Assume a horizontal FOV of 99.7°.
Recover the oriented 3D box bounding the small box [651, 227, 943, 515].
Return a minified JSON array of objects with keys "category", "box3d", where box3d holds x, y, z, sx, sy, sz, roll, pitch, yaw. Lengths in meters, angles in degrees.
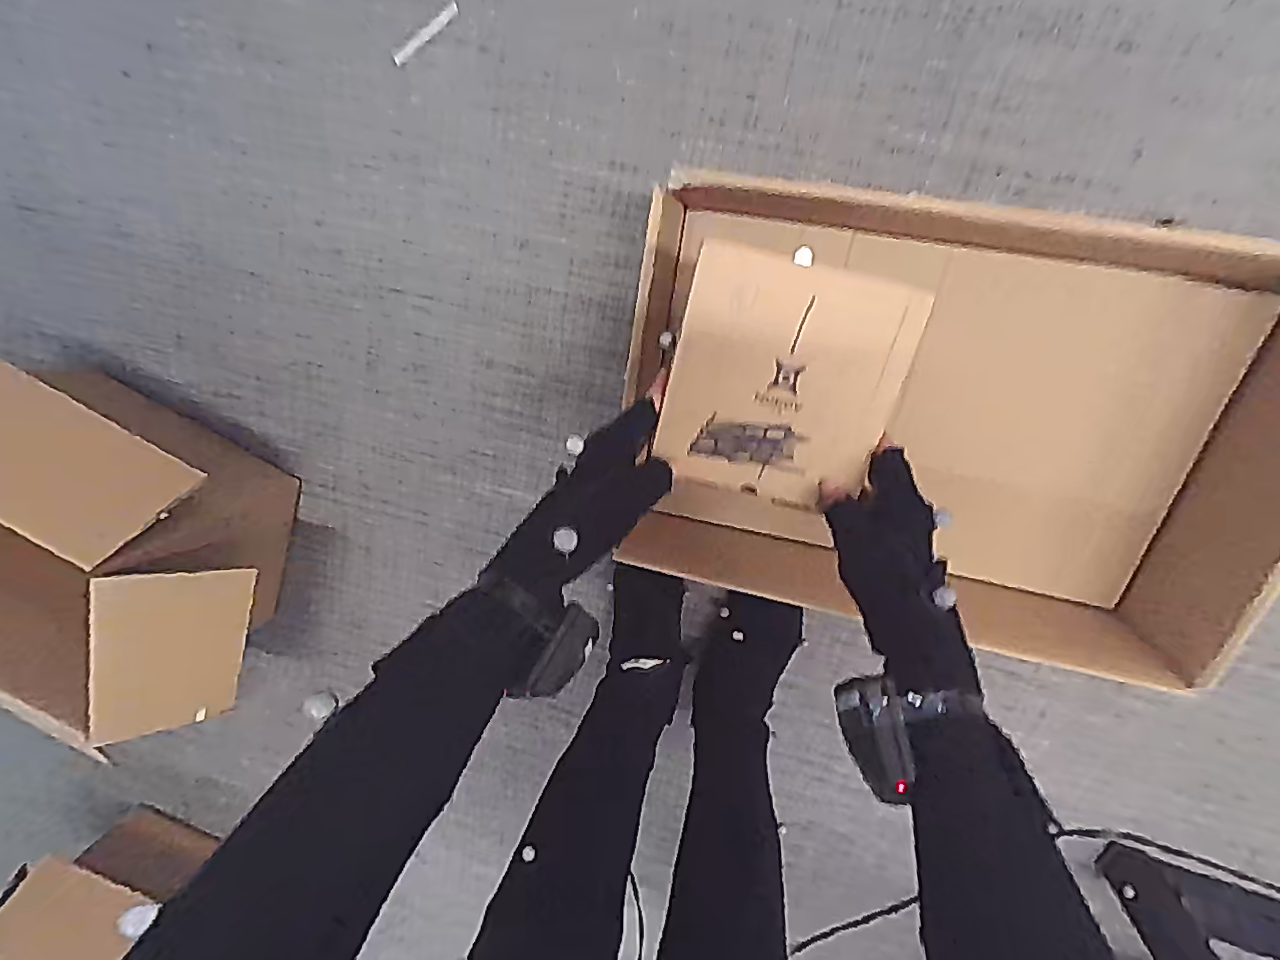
[{"category":"small box","box3d":[0.114,-0.097,0.467,0.168,0.176,0.179,15,109,0]}]
